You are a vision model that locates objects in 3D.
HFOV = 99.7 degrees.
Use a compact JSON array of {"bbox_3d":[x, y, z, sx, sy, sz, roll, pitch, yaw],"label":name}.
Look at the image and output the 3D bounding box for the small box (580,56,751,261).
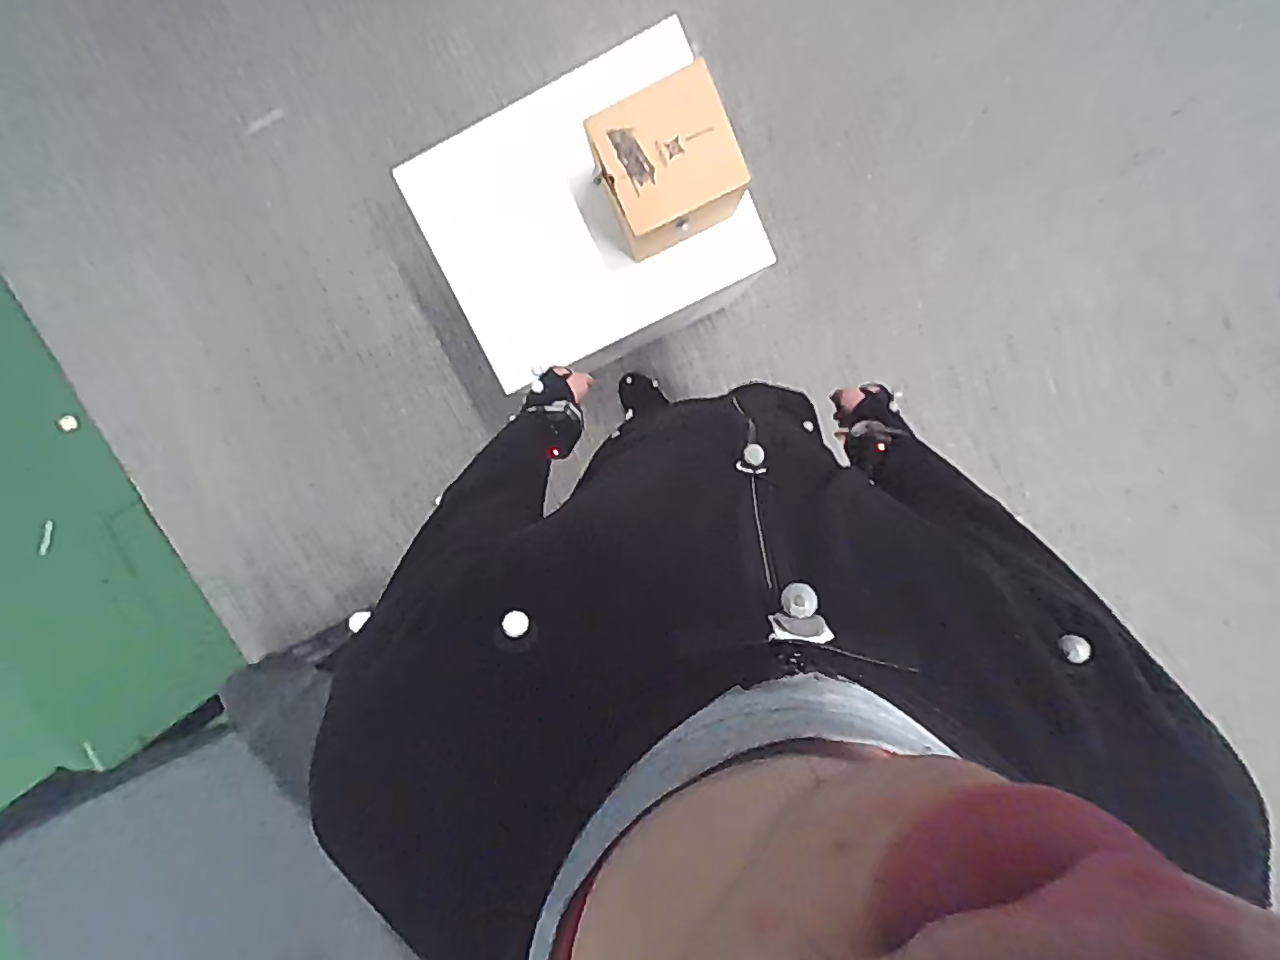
[{"bbox_3d":[0.033,-0.437,0.772,0.179,0.176,0.168,-25,100,3],"label":"small box"}]
